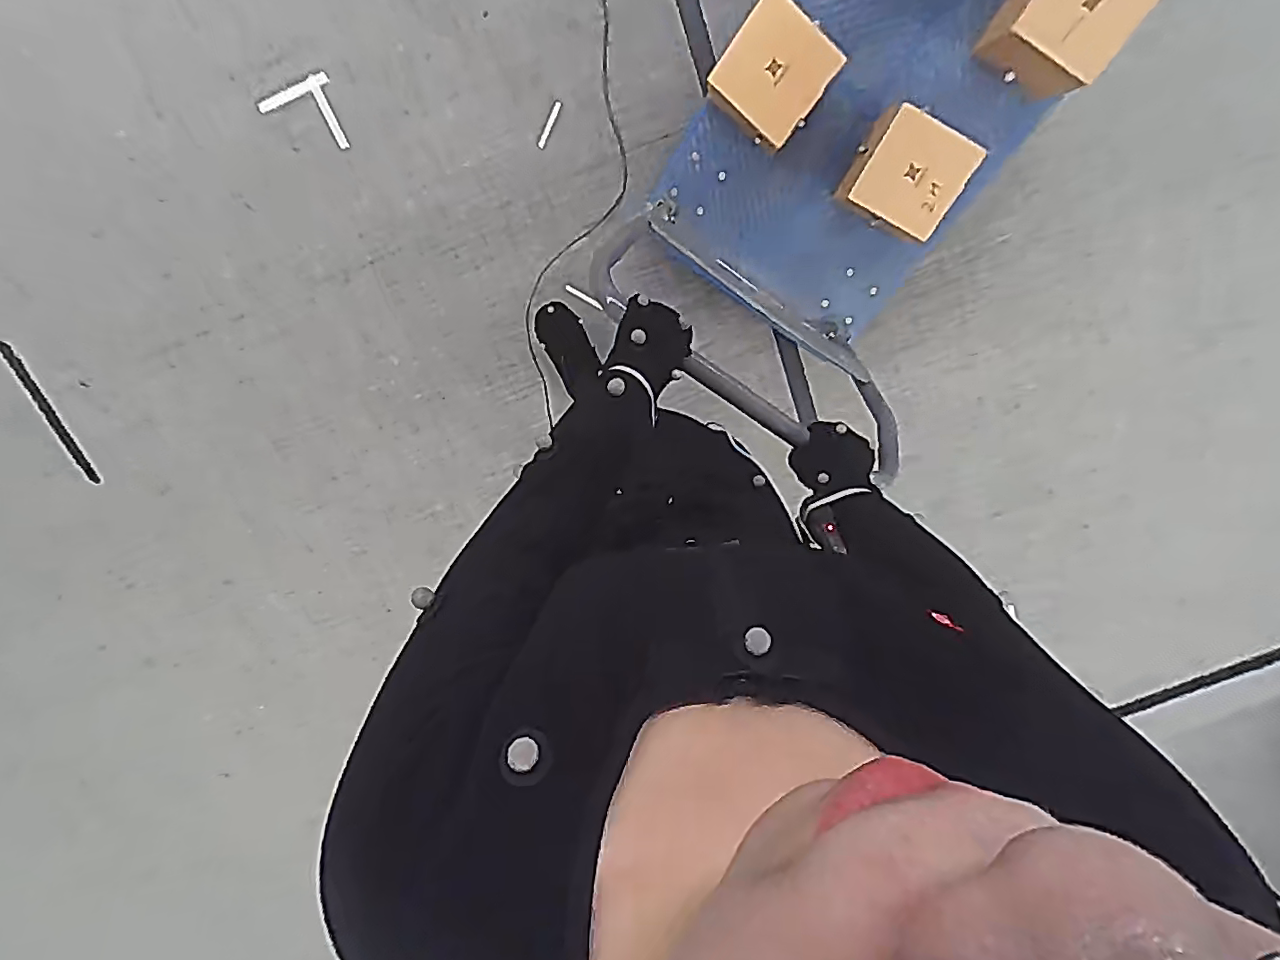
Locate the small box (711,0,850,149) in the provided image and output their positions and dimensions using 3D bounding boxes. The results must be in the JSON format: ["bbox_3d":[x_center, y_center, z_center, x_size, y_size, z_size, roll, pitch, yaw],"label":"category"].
[{"bbox_3d":[0.248,-0.742,0.997,0.179,0.176,0.168,37,116,-12],"label":"small box"}]

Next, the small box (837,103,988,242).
[{"bbox_3d":[0.507,-0.580,1.038,0.179,0.176,0.168,28,118,-5],"label":"small box"}]

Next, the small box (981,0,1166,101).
[{"bbox_3d":[0.721,-0.777,0.903,0.168,0.176,0.179,30,119,-7],"label":"small box"}]
